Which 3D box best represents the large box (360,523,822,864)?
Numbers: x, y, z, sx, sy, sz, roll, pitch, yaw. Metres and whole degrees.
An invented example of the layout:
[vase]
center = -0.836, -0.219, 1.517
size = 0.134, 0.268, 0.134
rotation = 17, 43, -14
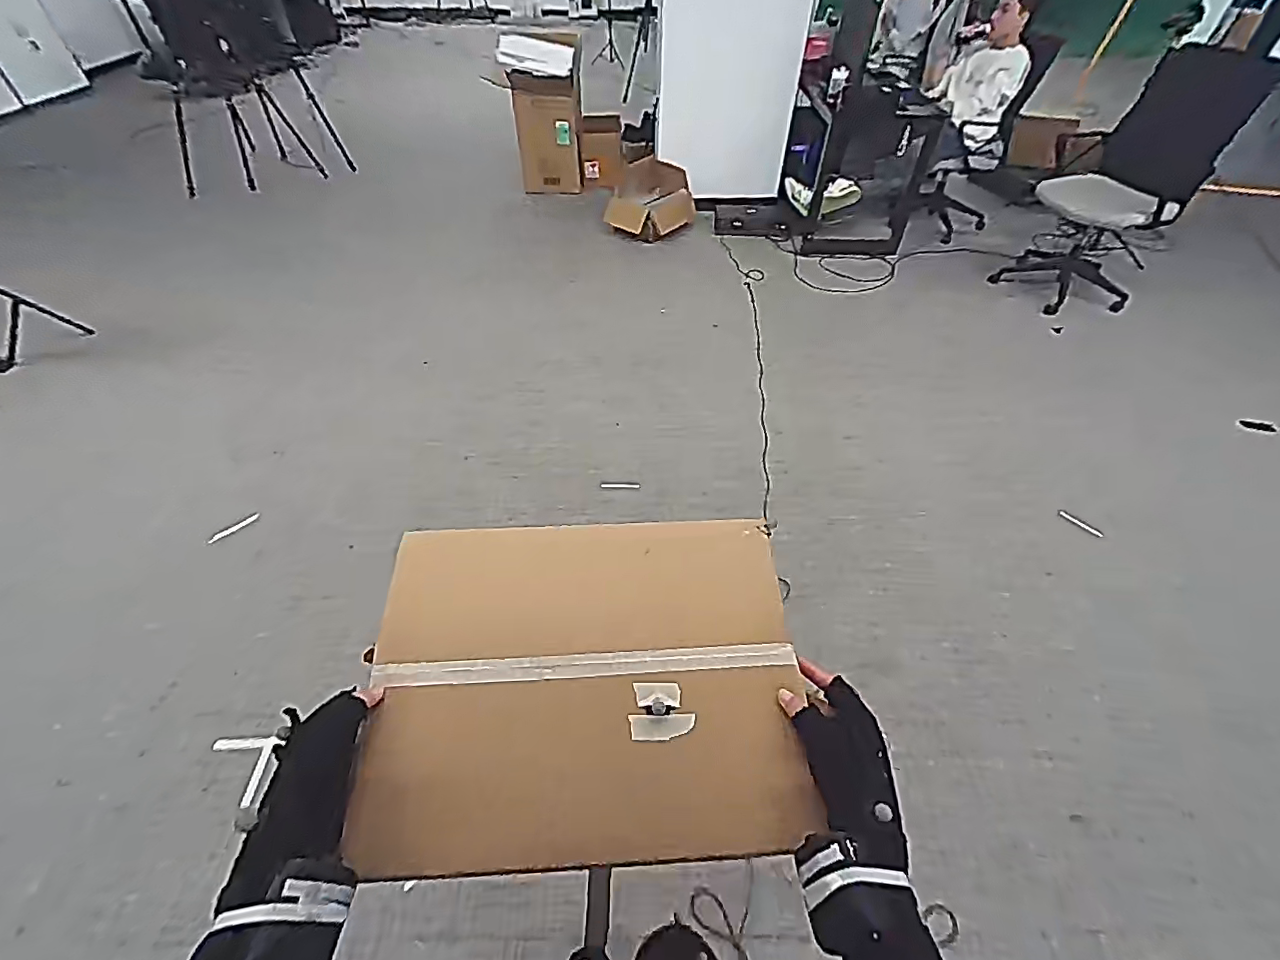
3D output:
[large box]
center = -0.051, 0.268, 0.665
size = 0.408, 0.320, 0.320
rotation = -1, 56, -3
